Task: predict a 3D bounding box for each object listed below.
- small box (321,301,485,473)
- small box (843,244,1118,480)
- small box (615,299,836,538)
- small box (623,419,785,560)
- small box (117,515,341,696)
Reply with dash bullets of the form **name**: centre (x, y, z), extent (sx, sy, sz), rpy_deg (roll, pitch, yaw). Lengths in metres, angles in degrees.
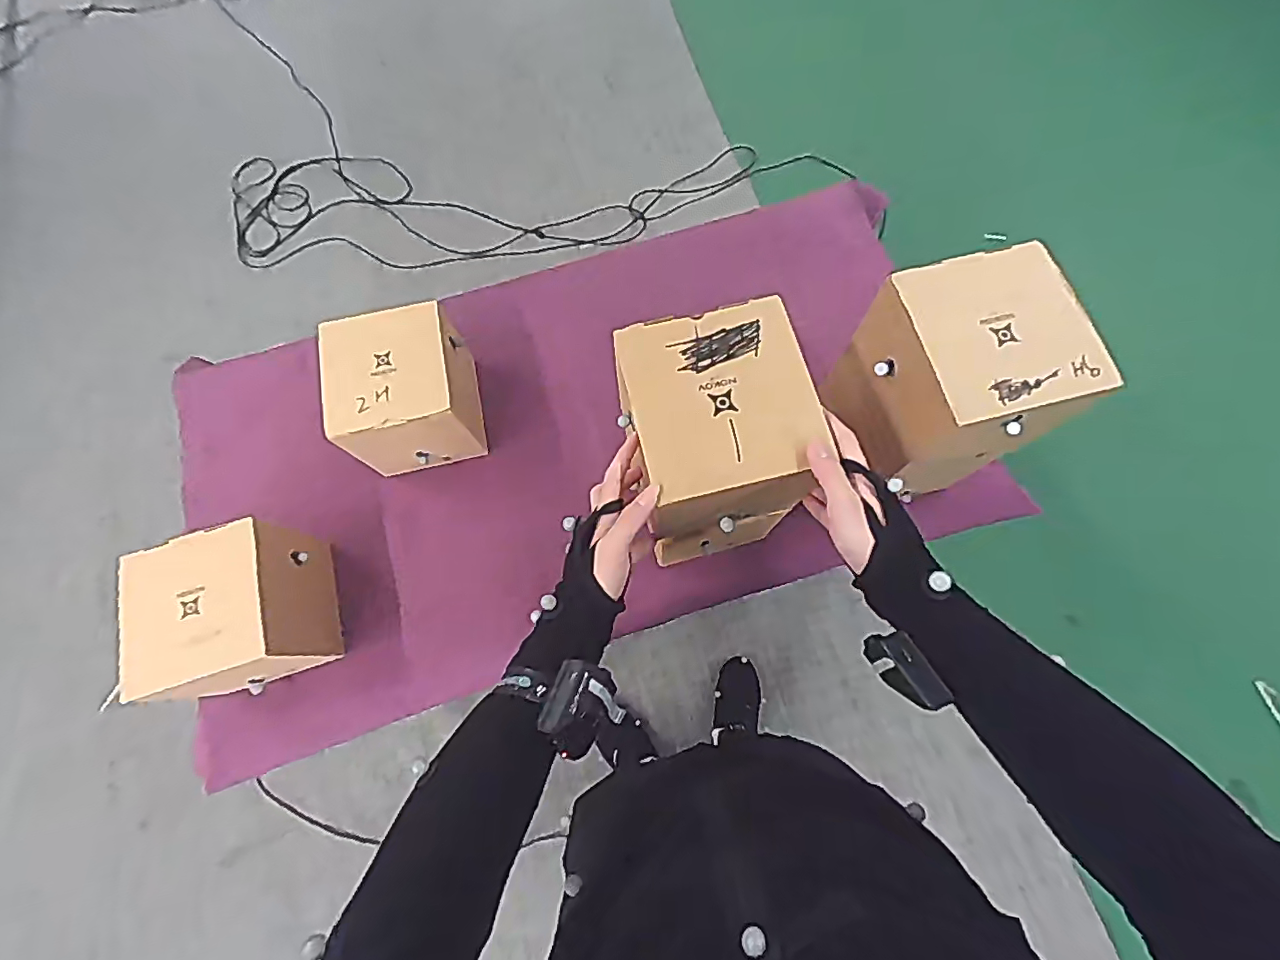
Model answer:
- **small box**: centre (-0.339, -0.129, 0.796), extent (0.168, 0.176, 0.179), rpy_deg (-12, 74, -2)
- **small box**: centre (0.349, -0.120, 0.600), extent (0.168, 0.176, 0.179), rpy_deg (-13, 72, -1)
- **small box**: centre (0.073, -0.053, 0.562), extent (0.168, 0.176, 0.179), rpy_deg (-13, 74, -2)
- **small box**: centre (0.081, 0.004, 0.745), extent (0.168, 0.176, 0.179), rpy_deg (-15, 71, -3)
- **small box**: centre (-0.523, 0.168, 0.708), extent (0.168, 0.176, 0.179), rpy_deg (-17, 72, -3)
